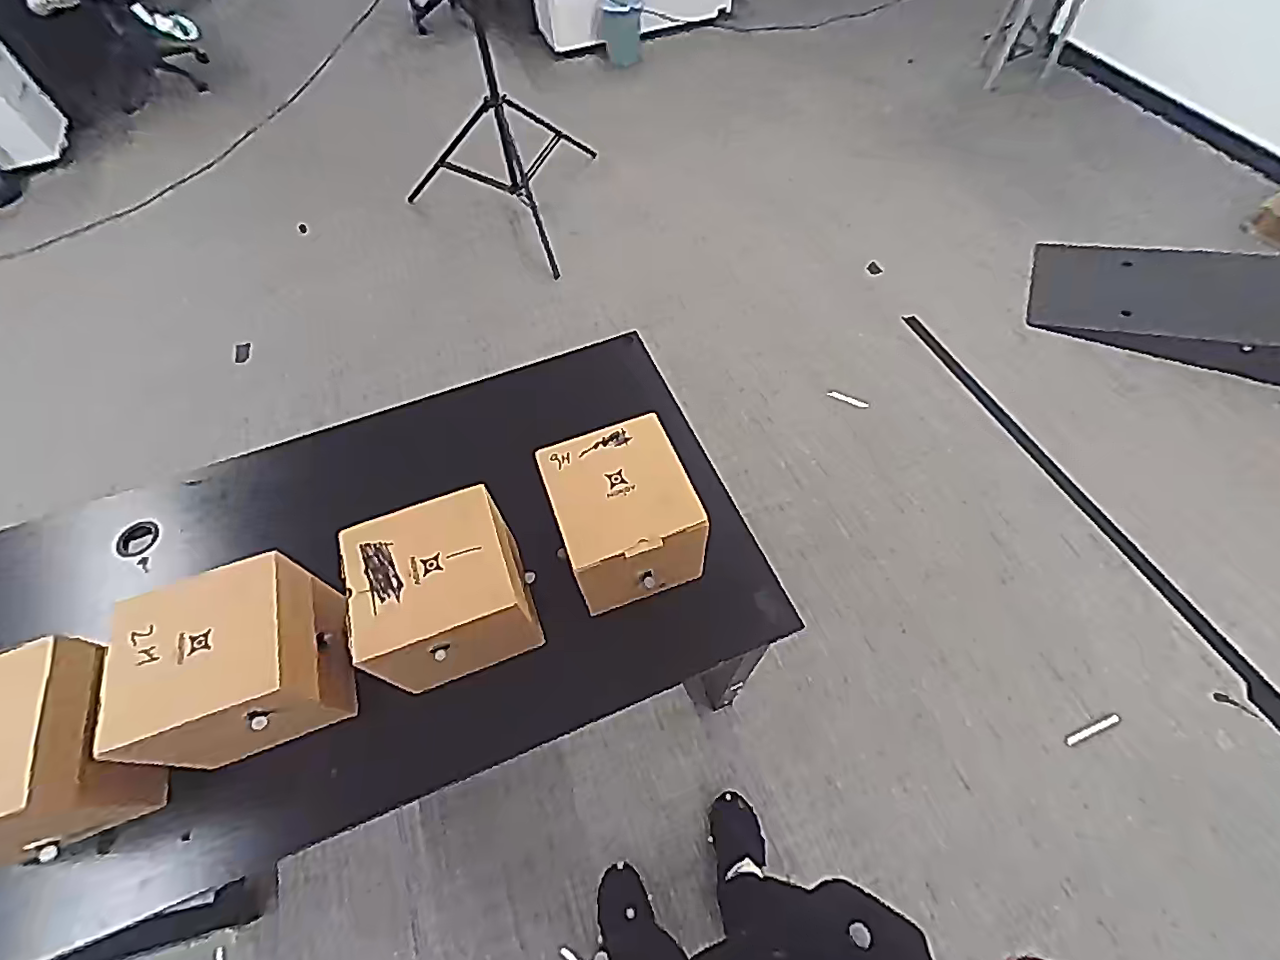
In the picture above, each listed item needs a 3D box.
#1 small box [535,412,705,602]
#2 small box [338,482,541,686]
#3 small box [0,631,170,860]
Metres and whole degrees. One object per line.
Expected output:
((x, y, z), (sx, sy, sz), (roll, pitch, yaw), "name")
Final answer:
((-0.025, 0.045, 0.711), (0.168, 0.176, 0.179), (-18, 61, -9), "small box")
((-0.238, 0.135, 0.668), (0.179, 0.176, 0.168), (-19, 60, -10), "small box")
((-0.664, 0.295, 0.591), (0.168, 0.176, 0.179), (-21, 61, -8), "small box")
